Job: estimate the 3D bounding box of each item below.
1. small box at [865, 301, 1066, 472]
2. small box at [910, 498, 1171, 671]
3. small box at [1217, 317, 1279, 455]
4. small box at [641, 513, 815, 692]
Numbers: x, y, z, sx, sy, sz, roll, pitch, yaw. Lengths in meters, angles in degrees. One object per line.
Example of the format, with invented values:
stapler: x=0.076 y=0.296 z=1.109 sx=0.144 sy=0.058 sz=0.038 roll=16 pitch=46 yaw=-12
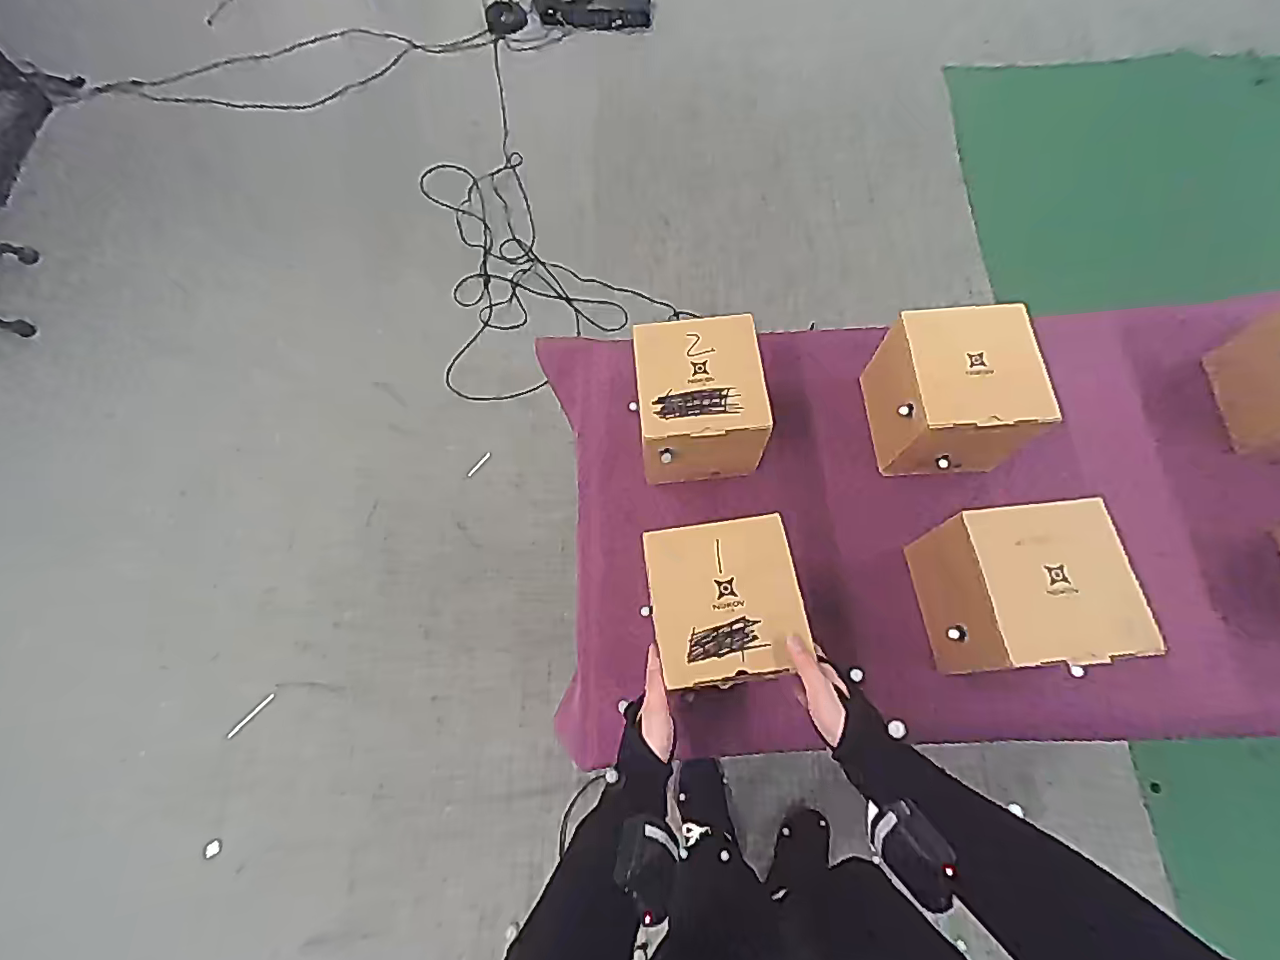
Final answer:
small box: x=0.435 y=-0.124 z=0.759 sx=0.168 sy=0.176 sz=0.179 roll=-4 pitch=71 yaw=2
small box: x=0.461 y=0.136 z=0.659 sx=0.168 sy=0.176 sz=0.179 roll=-5 pitch=68 yaw=1
small box: x=0.954 y=-0.143 z=0.729 sx=0.168 sy=0.176 sz=0.179 roll=2 pitch=70 yaw=5
small box: x=0.098 y=0.159 z=0.666 sx=0.168 sy=0.176 sz=0.179 roll=-9 pitch=66 yaw=0
